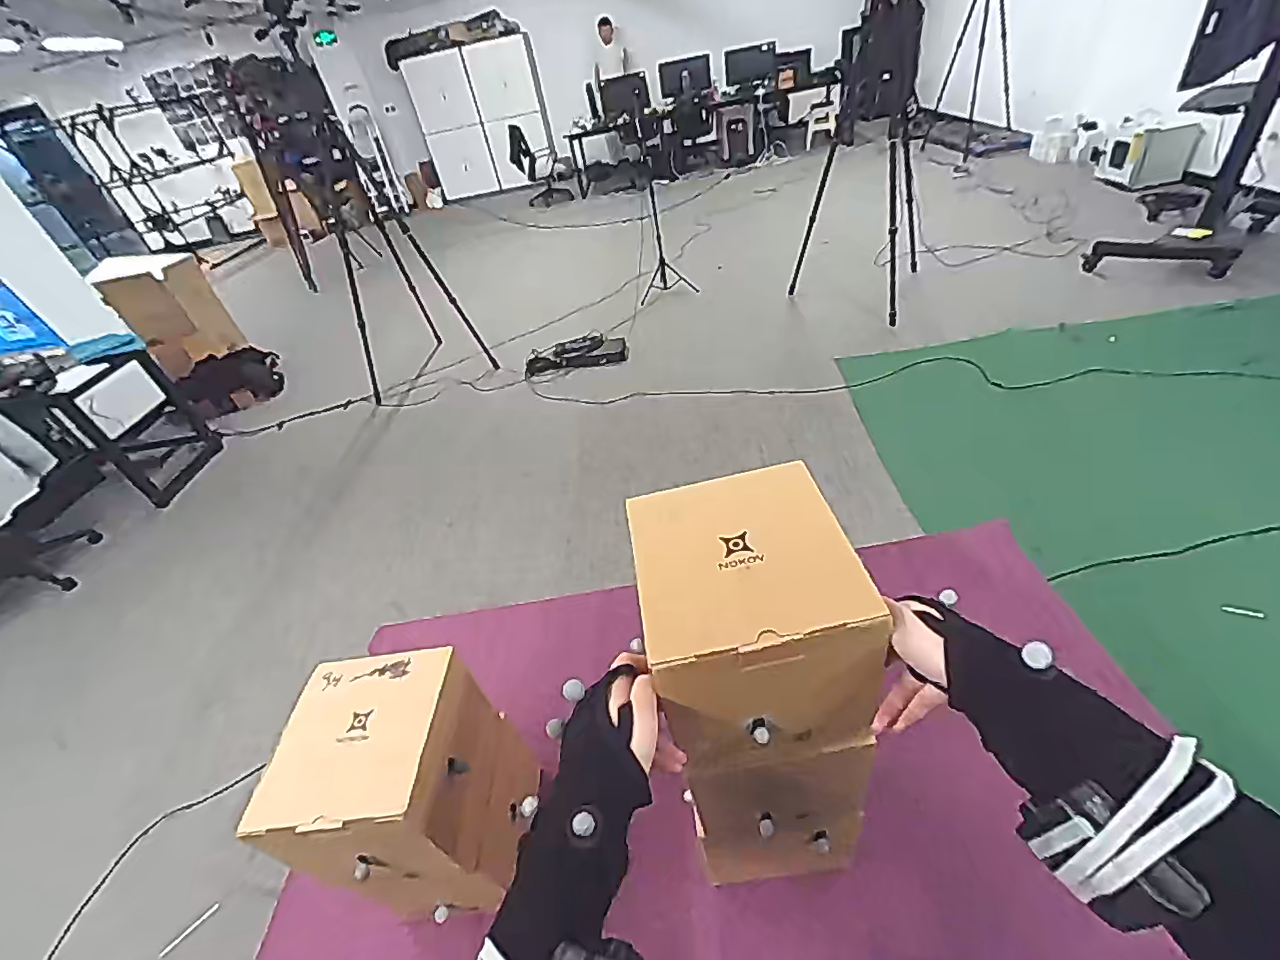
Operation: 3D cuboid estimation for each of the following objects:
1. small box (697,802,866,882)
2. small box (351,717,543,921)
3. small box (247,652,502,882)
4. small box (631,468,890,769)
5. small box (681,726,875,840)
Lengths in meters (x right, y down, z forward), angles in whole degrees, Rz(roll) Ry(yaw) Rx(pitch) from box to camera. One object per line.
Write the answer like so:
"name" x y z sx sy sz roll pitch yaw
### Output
"small box" 0.159 0.372 0.673 0.179 0.176 0.168 -11 38 4
"small box" -0.233 0.440 0.705 0.168 0.176 0.179 -10 39 5
"small box" -0.267 0.320 0.598 0.168 0.176 0.179 -9 39 5
"small box" 0.093 0.119 0.477 0.168 0.176 0.179 -13 40 2
"small box" 0.127 0.246 0.573 0.168 0.176 0.179 -12 39 4
